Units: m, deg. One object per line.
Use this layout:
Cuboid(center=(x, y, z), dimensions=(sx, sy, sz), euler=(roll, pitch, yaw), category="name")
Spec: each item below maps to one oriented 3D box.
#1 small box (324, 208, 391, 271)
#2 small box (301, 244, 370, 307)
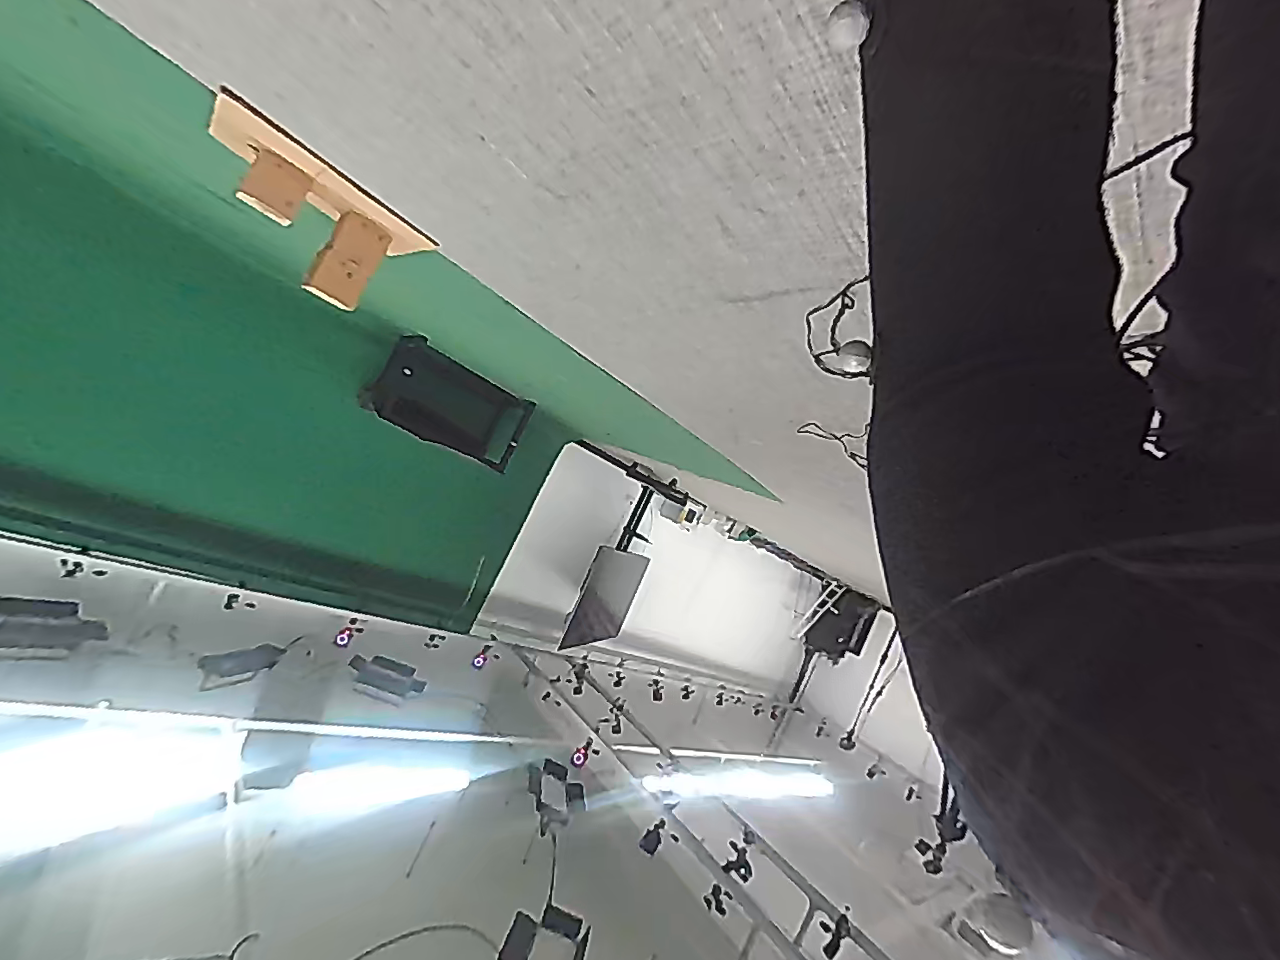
Cuboid(center=(-1.114, -0.948, 2.137), dimensions=(0.179, 0.176, 0.168), euler=(23, 176, 46), category="small box")
Cuboid(center=(-1.197, -0.808, 2.132), dimensions=(0.179, 0.176, 0.168), euler=(22, 174, 44), category="small box")
